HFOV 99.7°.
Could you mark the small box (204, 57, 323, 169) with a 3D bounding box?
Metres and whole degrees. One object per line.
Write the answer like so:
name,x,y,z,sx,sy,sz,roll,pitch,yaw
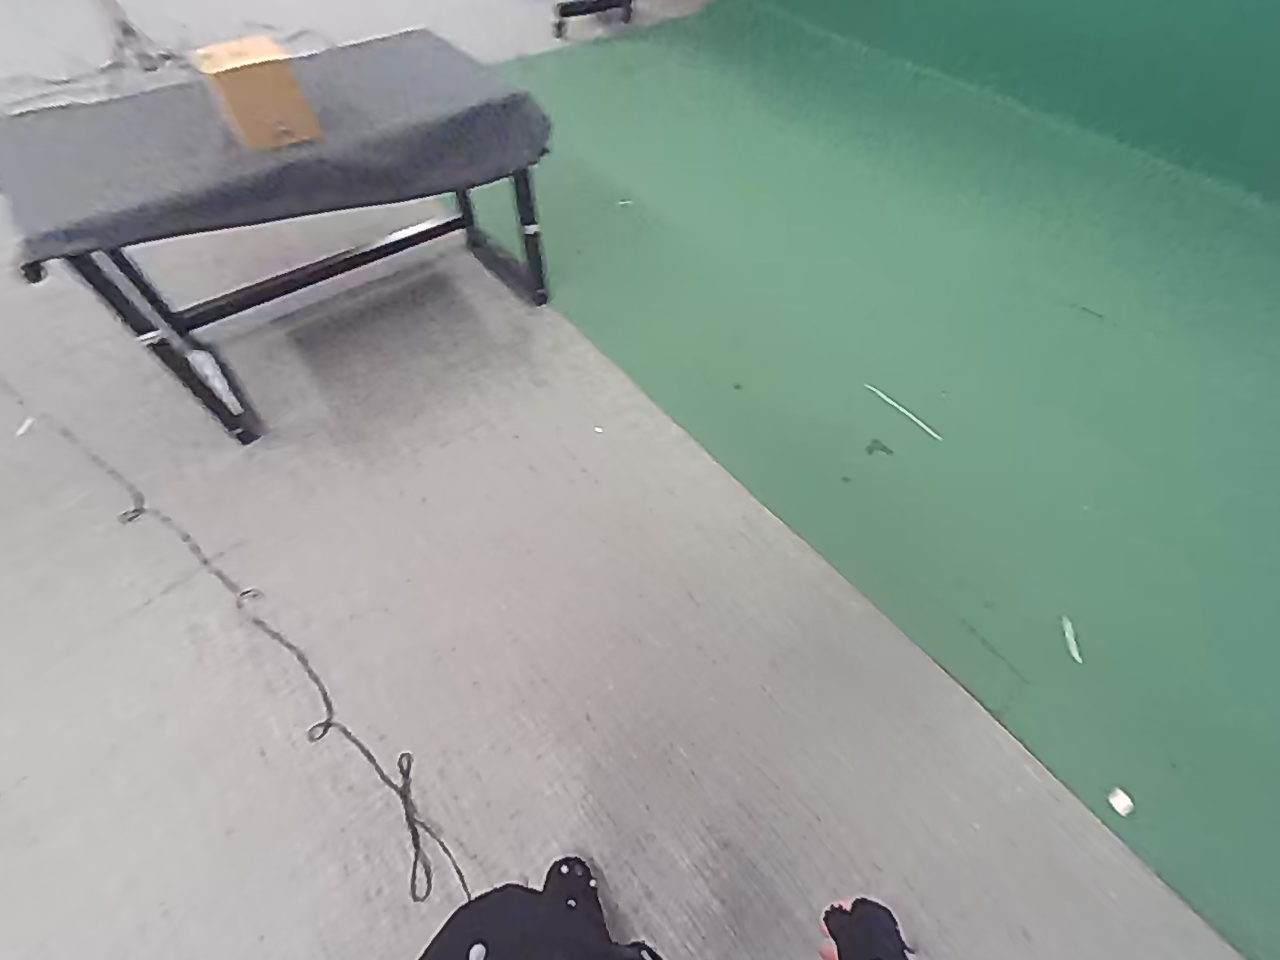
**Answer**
small box,-0.915,-0.903,1.332,0.179,0.176,0.168,-31,60,-21
